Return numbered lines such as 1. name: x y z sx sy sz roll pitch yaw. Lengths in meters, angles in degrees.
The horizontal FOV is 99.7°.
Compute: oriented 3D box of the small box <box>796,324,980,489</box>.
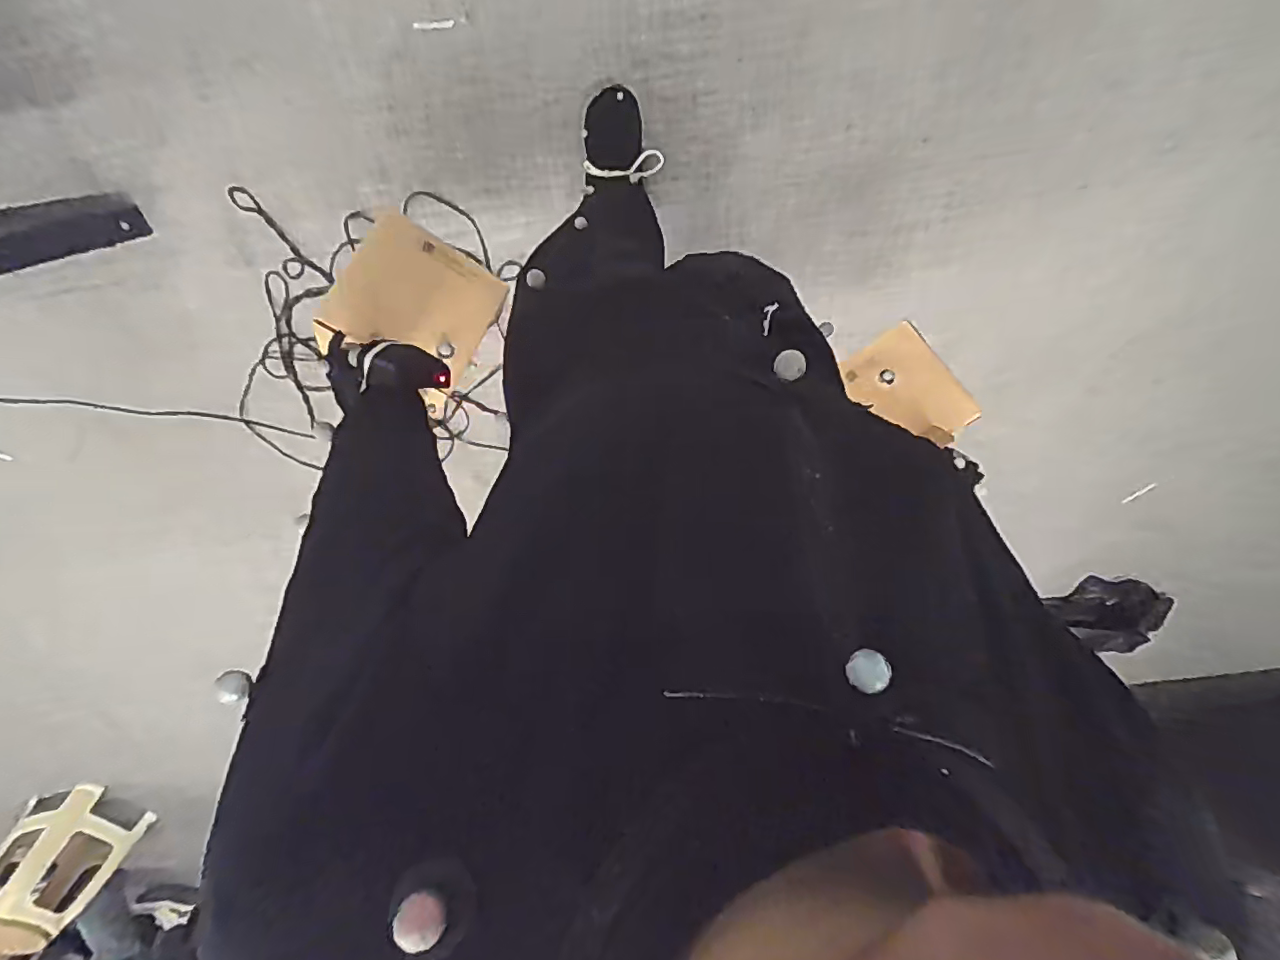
1. small box: 0.353 -0.104 0.811 0.168 0.179 0.176 -35 80 7
